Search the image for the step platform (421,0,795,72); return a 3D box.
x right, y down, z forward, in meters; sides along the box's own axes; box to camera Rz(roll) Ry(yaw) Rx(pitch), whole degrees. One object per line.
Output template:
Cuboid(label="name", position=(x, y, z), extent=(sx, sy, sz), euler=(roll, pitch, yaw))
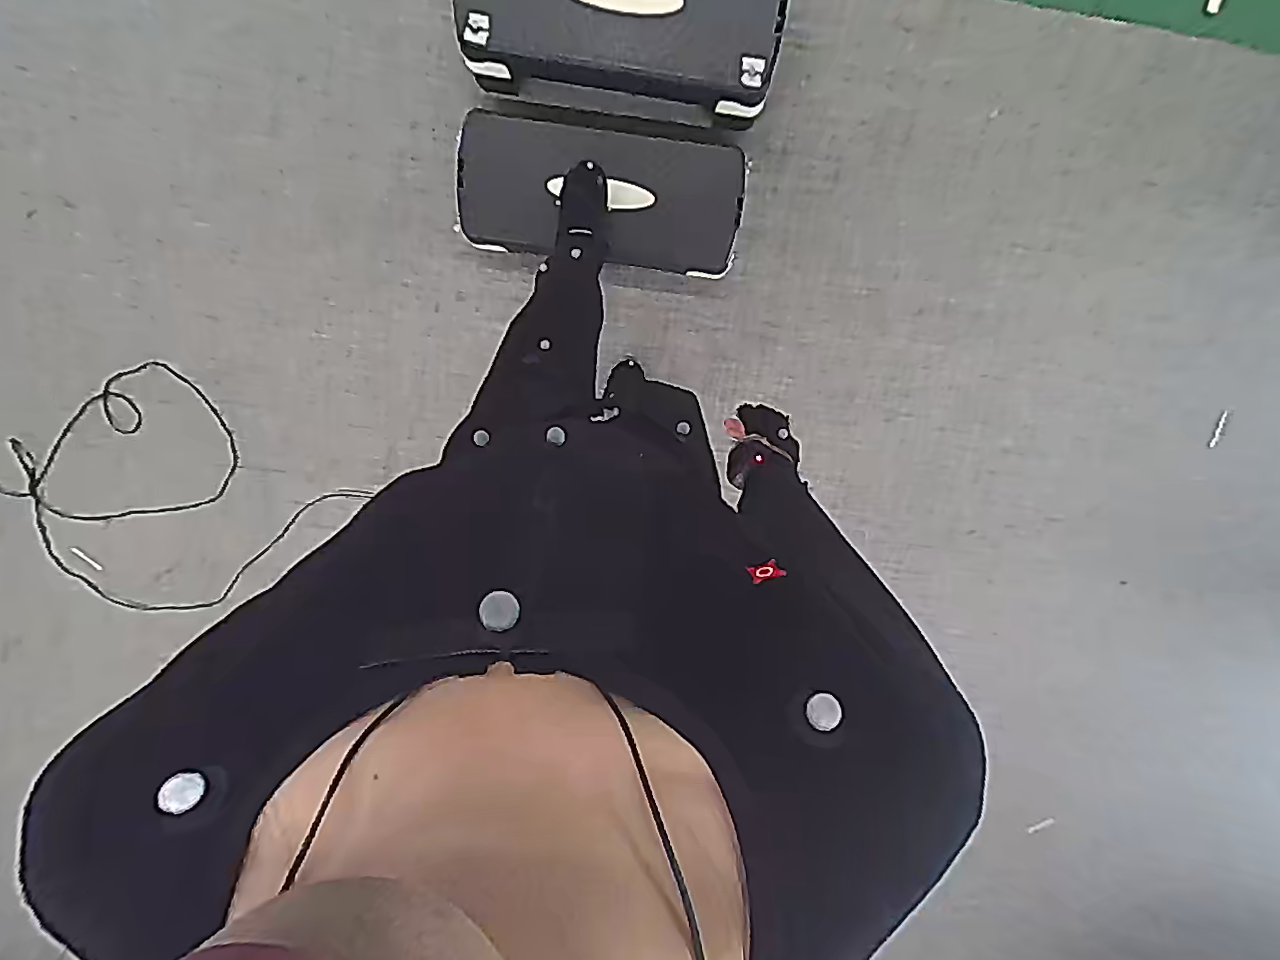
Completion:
Cuboid(label="step platform", position=(-0.060, -0.947, 0.944), extent=(0.684, 0.204, 0.286), euler=(7, 105, -2))
